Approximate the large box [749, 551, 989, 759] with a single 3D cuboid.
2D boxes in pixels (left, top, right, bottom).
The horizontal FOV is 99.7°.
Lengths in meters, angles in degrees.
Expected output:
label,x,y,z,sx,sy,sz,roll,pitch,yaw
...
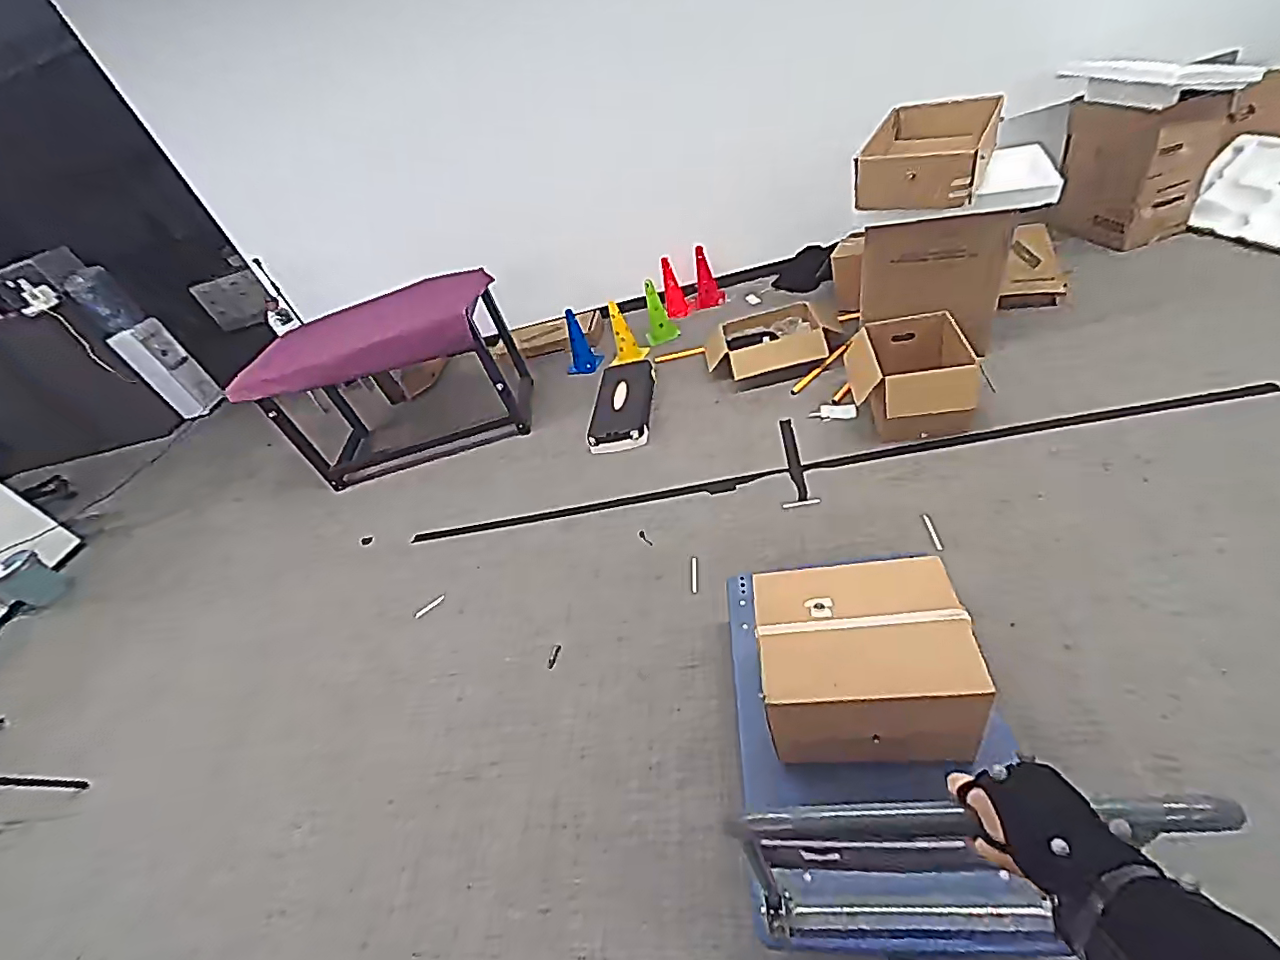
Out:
label,x,y,z,sx,sy,sz,roll,pitch,yaw
large box,0.477,0.395,1.194,0.408,0.320,0.320,-10,40,14
